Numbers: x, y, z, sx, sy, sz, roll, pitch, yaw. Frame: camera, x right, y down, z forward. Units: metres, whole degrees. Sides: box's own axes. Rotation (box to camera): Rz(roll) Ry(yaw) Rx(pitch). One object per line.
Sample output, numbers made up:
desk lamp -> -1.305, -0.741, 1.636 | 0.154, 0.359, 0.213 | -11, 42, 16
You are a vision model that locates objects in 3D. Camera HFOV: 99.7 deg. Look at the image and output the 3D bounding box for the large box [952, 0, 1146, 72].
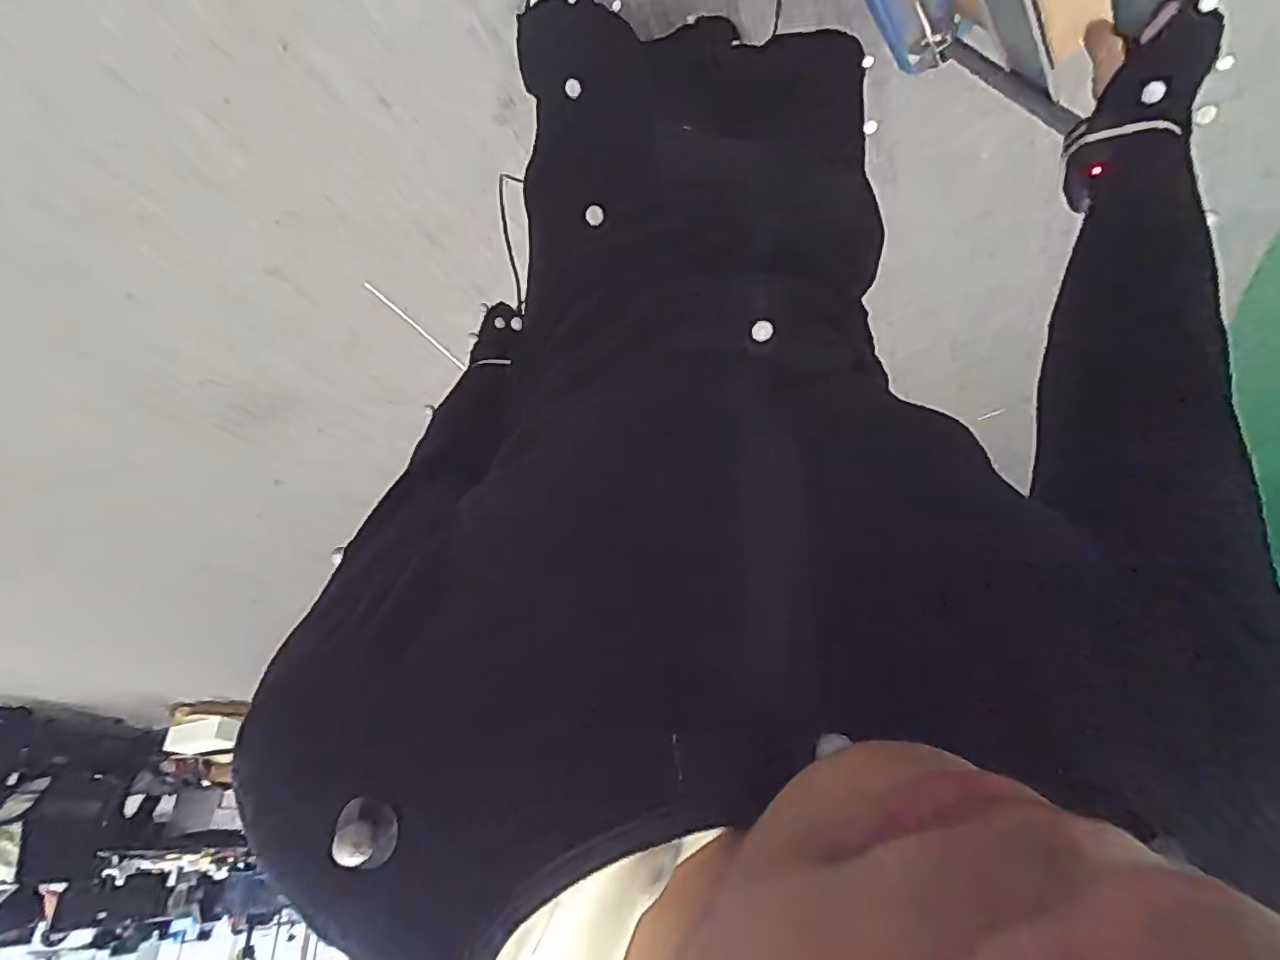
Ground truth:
large box -> 0.660, -0.908, 0.749 | 0.408, 0.320, 0.320 | -36, 137, 30
